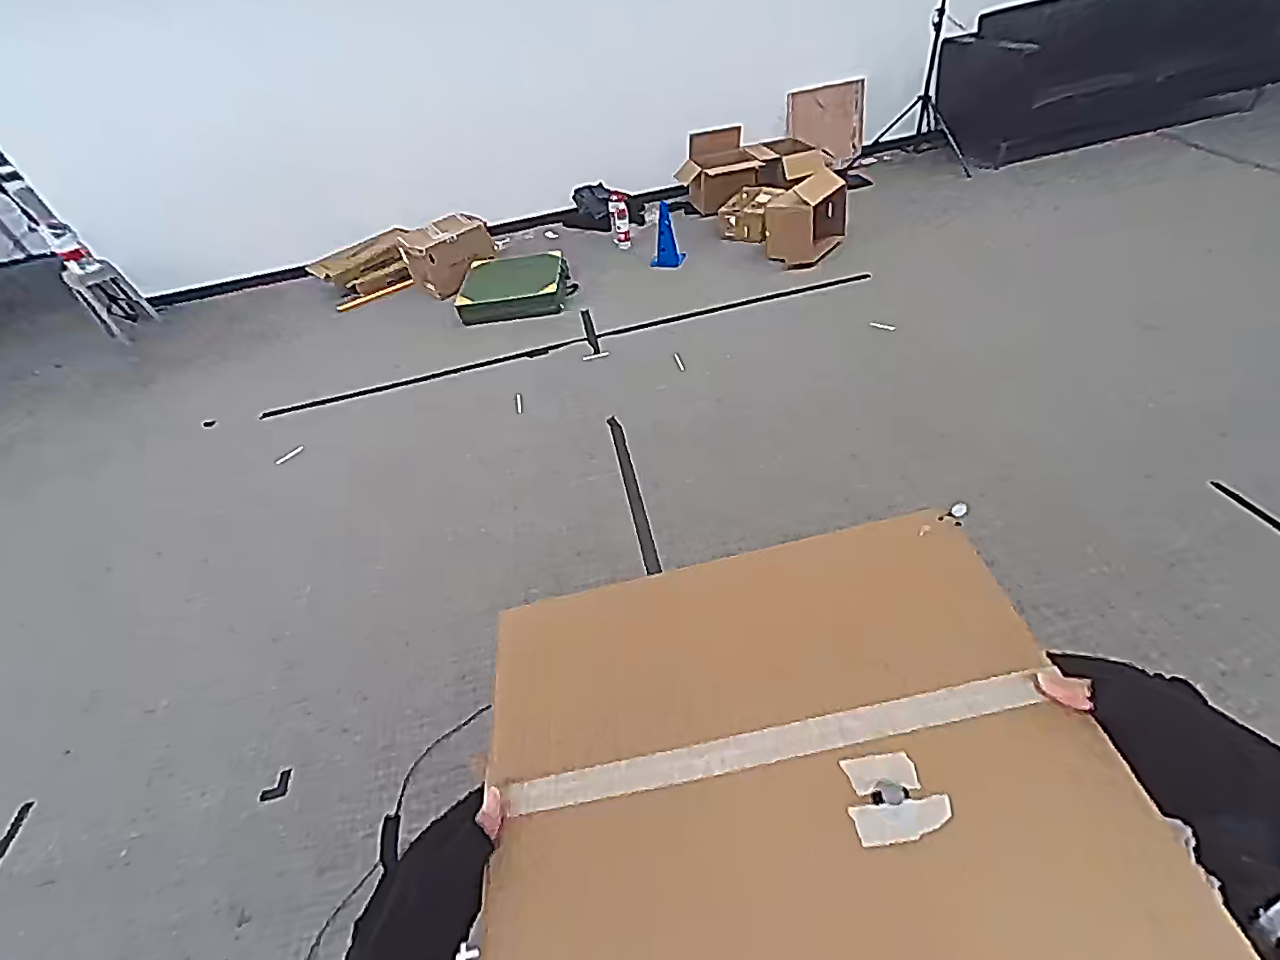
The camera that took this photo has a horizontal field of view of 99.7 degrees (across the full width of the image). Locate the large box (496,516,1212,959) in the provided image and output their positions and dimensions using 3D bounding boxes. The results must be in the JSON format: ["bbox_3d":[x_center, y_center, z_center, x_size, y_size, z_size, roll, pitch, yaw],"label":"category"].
[{"bbox_3d":[0.116,0.287,0.498,0.408,0.320,0.320,-14,48,3],"label":"large box"}]
